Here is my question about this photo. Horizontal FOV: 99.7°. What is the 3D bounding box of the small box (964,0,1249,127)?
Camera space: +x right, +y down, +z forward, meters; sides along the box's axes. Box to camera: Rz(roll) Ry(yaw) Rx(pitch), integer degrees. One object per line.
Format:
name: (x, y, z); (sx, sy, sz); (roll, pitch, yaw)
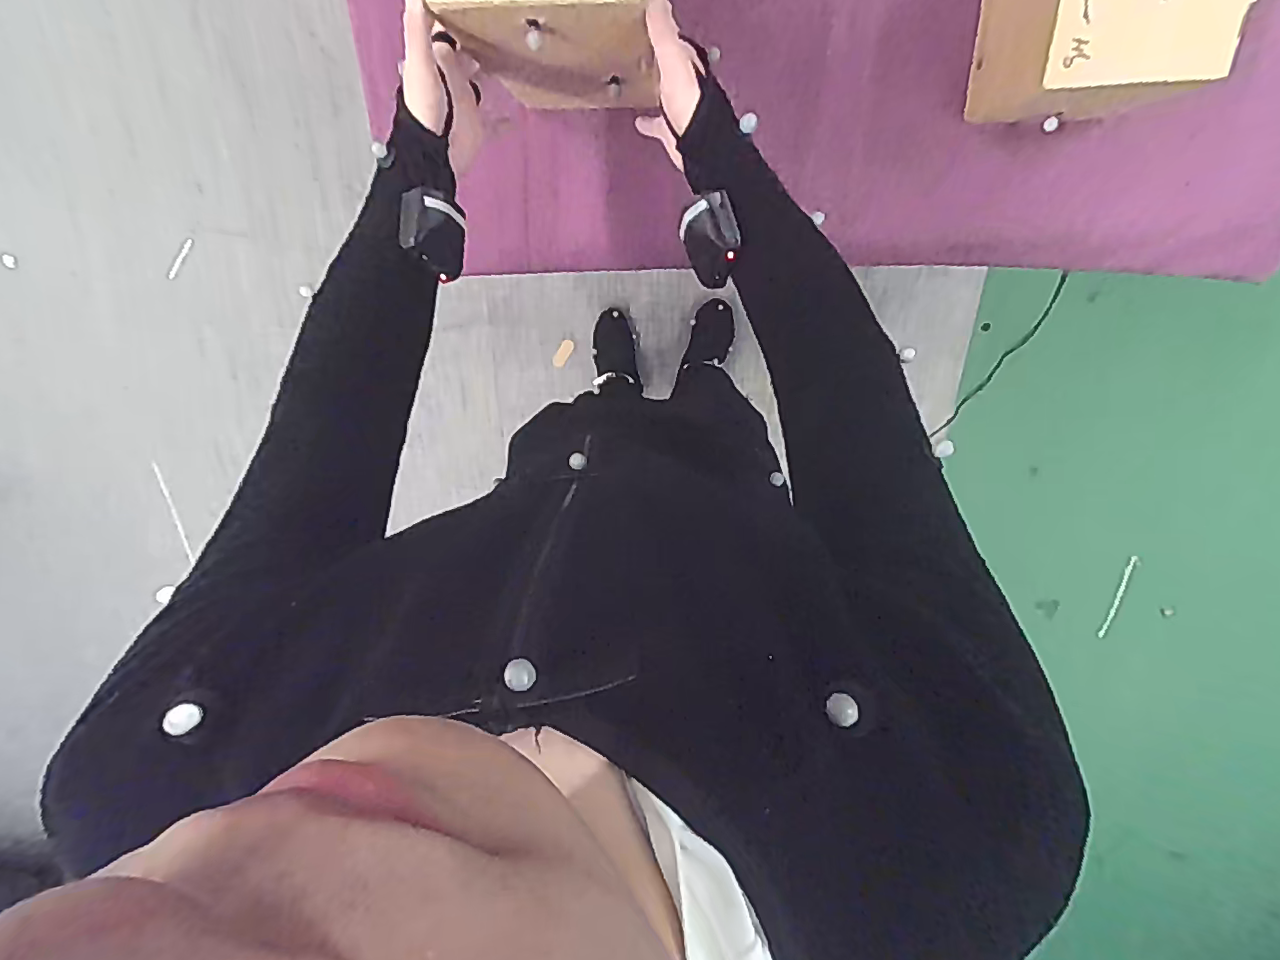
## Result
small box: (0.490, -0.494, 0.580); (0.179, 0.176, 0.168); (0, 112, 5)

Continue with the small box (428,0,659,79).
small box: (-0.073, -0.465, 0.461); (0.179, 0.176, 0.168); (2, 113, 5)

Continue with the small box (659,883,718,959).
small box: (0.166, 1.547, 1.882); (0.179, 0.176, 0.168); (8, 112, 2)

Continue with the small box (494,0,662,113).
small box: (-0.063, -0.531, 0.609); (0.179, 0.176, 0.168); (1, 113, 4)

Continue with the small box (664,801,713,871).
small box: (0.195, 1.437, 2.189); (0.179, 0.176, 0.168); (6, 113, 3)
